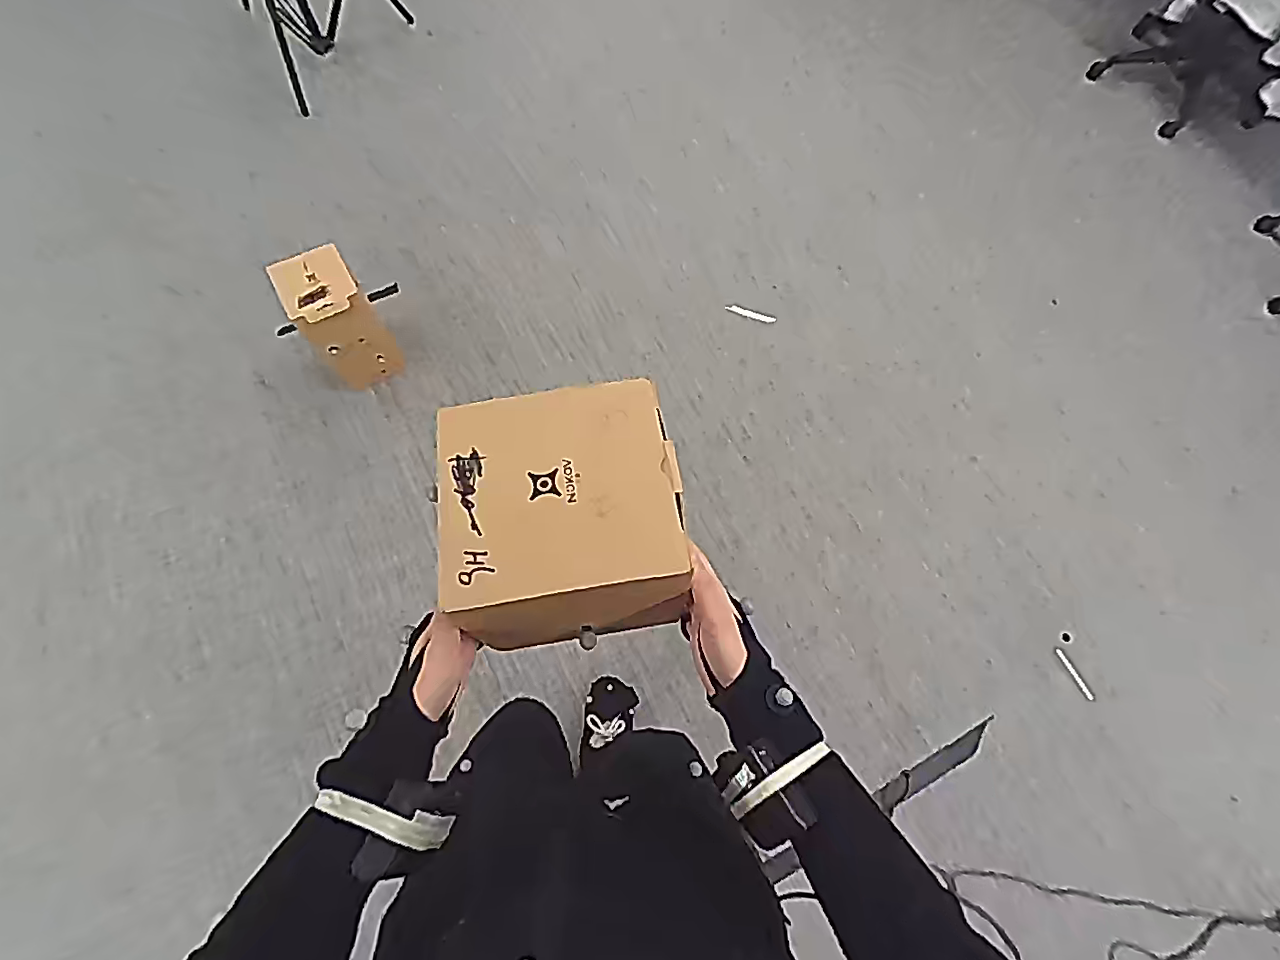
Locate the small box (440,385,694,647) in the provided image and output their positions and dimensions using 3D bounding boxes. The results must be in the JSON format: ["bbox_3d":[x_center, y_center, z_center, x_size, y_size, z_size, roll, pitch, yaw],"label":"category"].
[{"bbox_3d":[-0.061,0.039,0.472,0.179,0.176,0.168,-7,63,-5],"label":"small box"}]

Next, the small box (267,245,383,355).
[{"bbox_3d":[-0.776,-0.439,1.351,0.168,0.176,0.179,-29,75,-13],"label":"small box"}]

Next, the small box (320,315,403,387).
[{"bbox_3d":[-0.791,-0.383,1.505,0.168,0.176,0.179,-30,74,-13],"label":"small box"}]
